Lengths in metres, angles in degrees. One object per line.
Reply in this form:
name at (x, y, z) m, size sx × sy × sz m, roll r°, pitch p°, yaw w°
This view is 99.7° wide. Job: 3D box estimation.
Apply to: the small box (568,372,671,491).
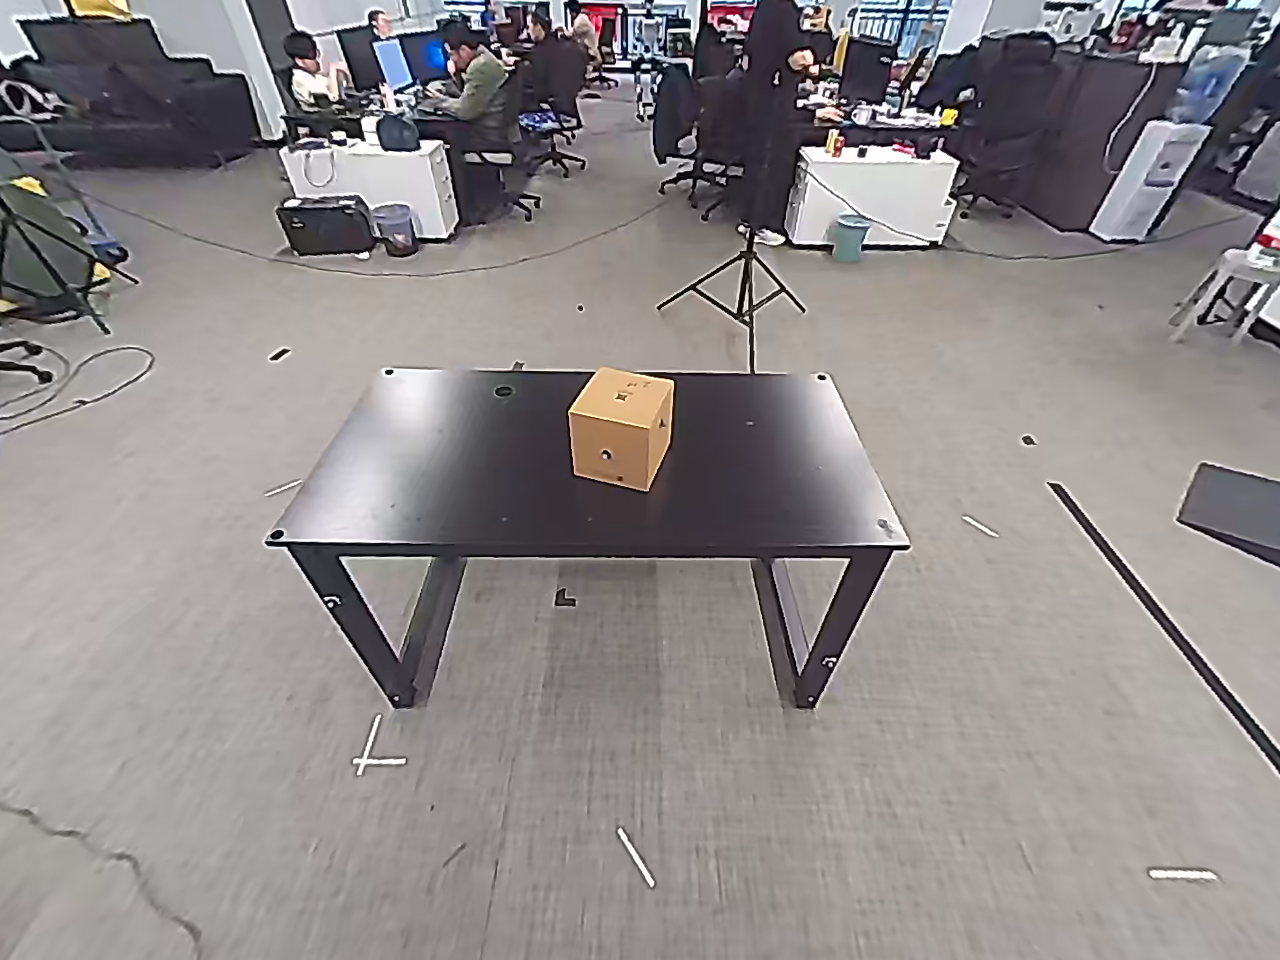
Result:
small box at (-0.037, -0.101, 1.145) m, size 0.168 × 0.176 × 0.179 m, roll 13°, pitch 44°, yaw 13°
